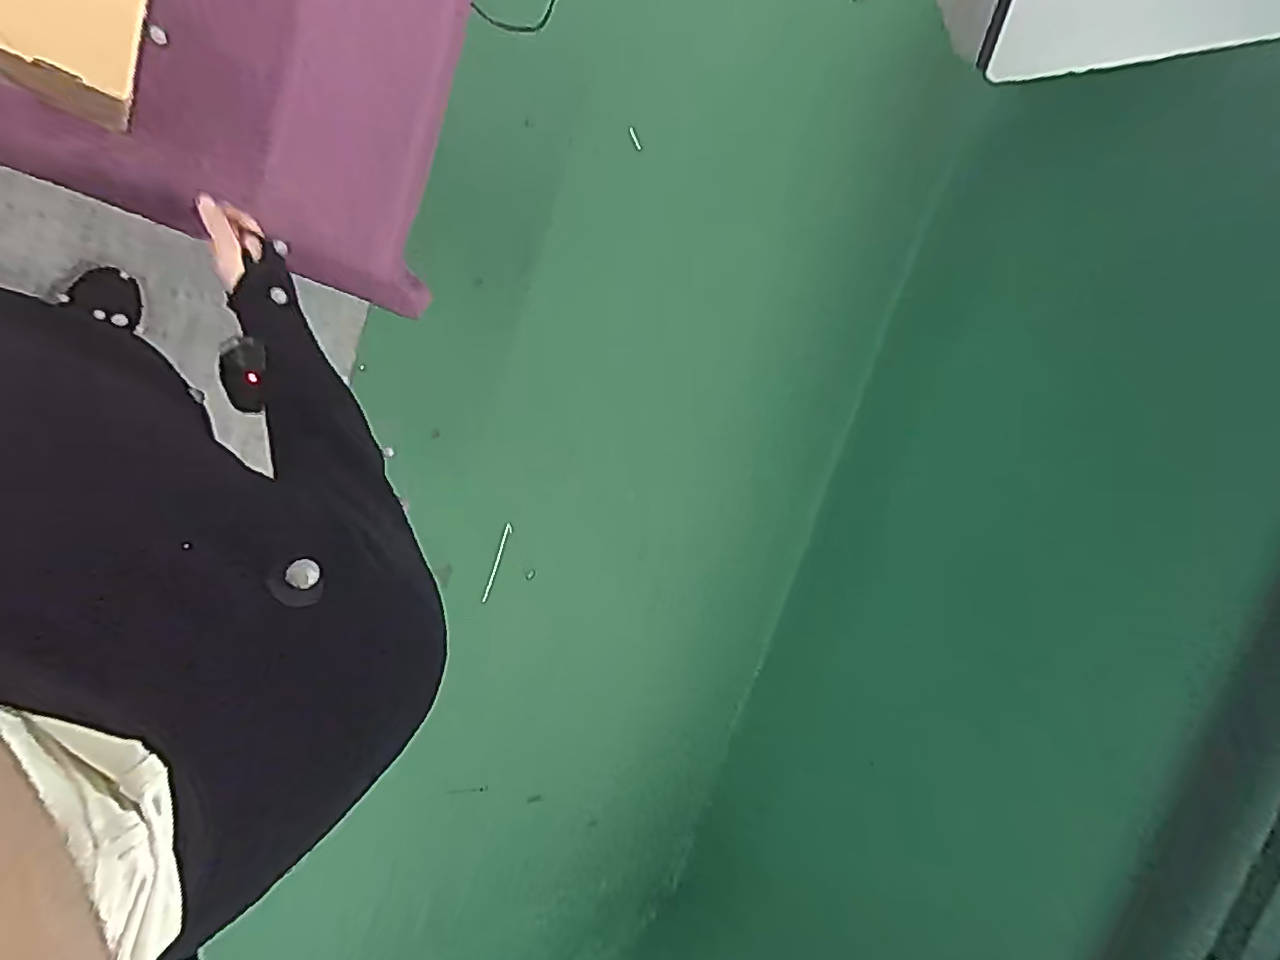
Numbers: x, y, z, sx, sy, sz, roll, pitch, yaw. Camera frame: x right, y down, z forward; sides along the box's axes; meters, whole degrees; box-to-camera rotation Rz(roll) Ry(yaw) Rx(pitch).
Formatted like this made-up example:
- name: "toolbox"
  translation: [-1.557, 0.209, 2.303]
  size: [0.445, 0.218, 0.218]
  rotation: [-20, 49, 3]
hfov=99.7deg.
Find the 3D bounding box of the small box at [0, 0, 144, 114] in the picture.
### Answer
- name: "small box"
  translation: [-0.556, -0.467, 0.478]
  size: [0.168, 0.176, 0.179]
  rotation: [9, 101, -48]
